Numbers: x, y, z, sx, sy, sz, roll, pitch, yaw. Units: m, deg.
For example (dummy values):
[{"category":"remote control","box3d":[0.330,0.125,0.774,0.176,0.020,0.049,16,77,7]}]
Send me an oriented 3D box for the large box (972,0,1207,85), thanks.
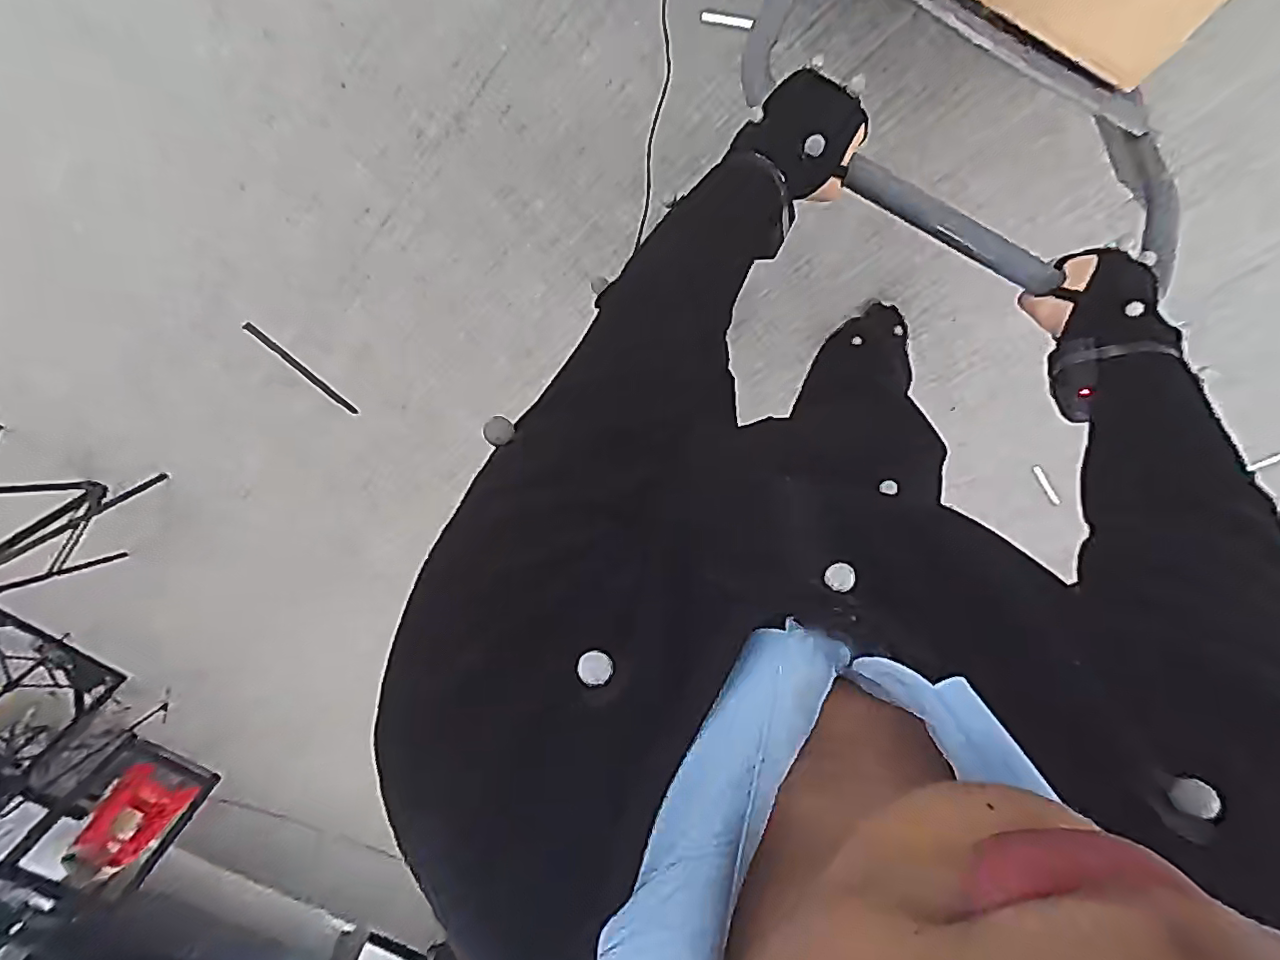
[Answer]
[{"category":"large box","box3d":[0.533,-0.776,0.637,0.408,0.320,0.320,24,146,-8]}]
